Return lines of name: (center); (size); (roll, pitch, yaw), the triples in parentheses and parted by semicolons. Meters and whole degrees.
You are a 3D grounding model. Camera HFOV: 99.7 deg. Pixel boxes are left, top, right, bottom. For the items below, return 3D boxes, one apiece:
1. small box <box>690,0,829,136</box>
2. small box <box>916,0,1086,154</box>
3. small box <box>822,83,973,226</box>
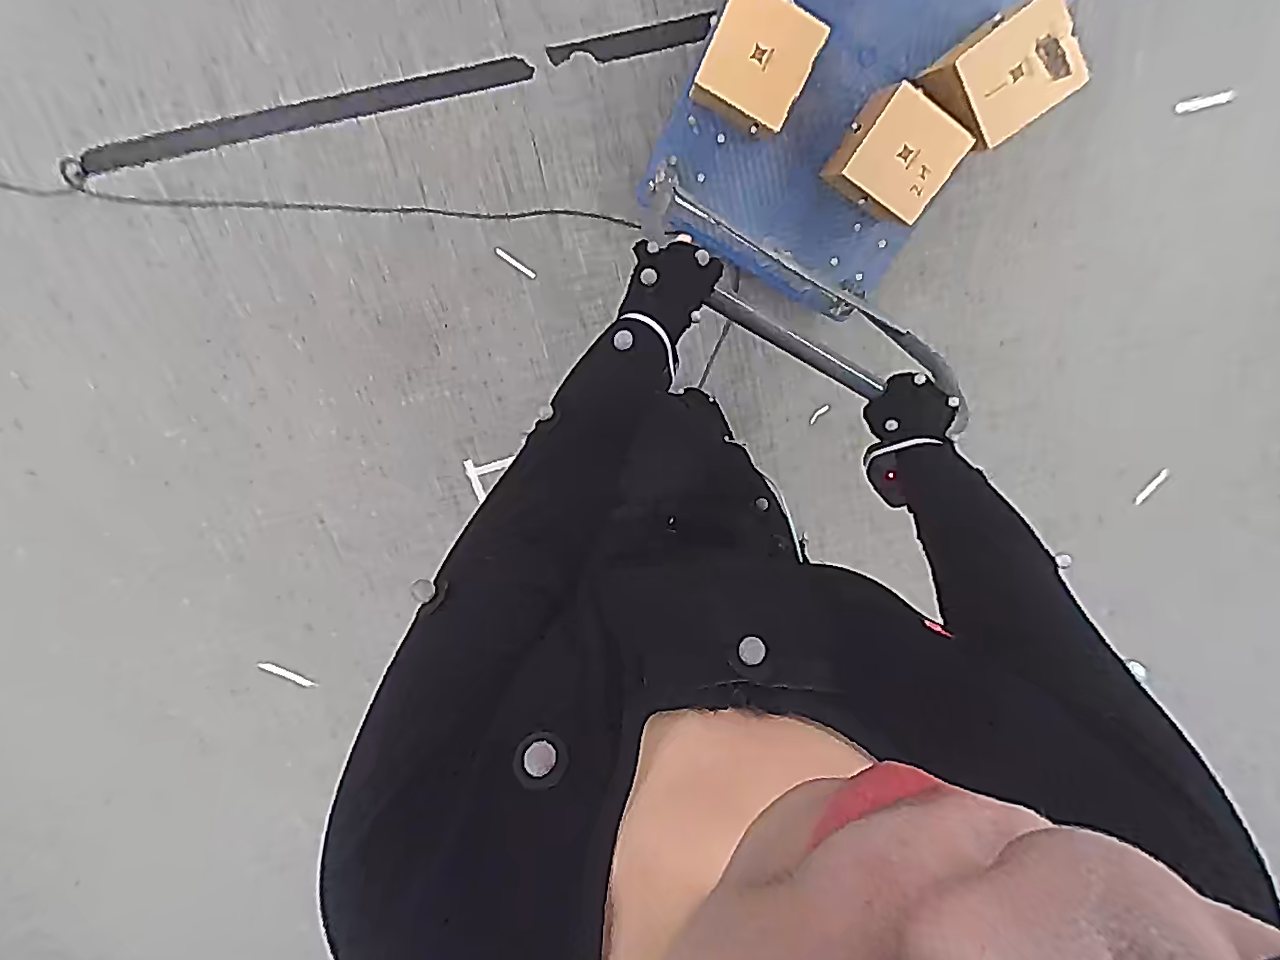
small box: (0.204, -0.756, 0.987); (0.179, 0.176, 0.168); (23, 116, -12)
small box: (0.646, -0.727, 0.985); (0.179, 0.176, 0.168); (-32, 113, 18)
small box: (0.484, -0.619, 1.049); (0.179, 0.176, 0.168); (29, 116, -12)
